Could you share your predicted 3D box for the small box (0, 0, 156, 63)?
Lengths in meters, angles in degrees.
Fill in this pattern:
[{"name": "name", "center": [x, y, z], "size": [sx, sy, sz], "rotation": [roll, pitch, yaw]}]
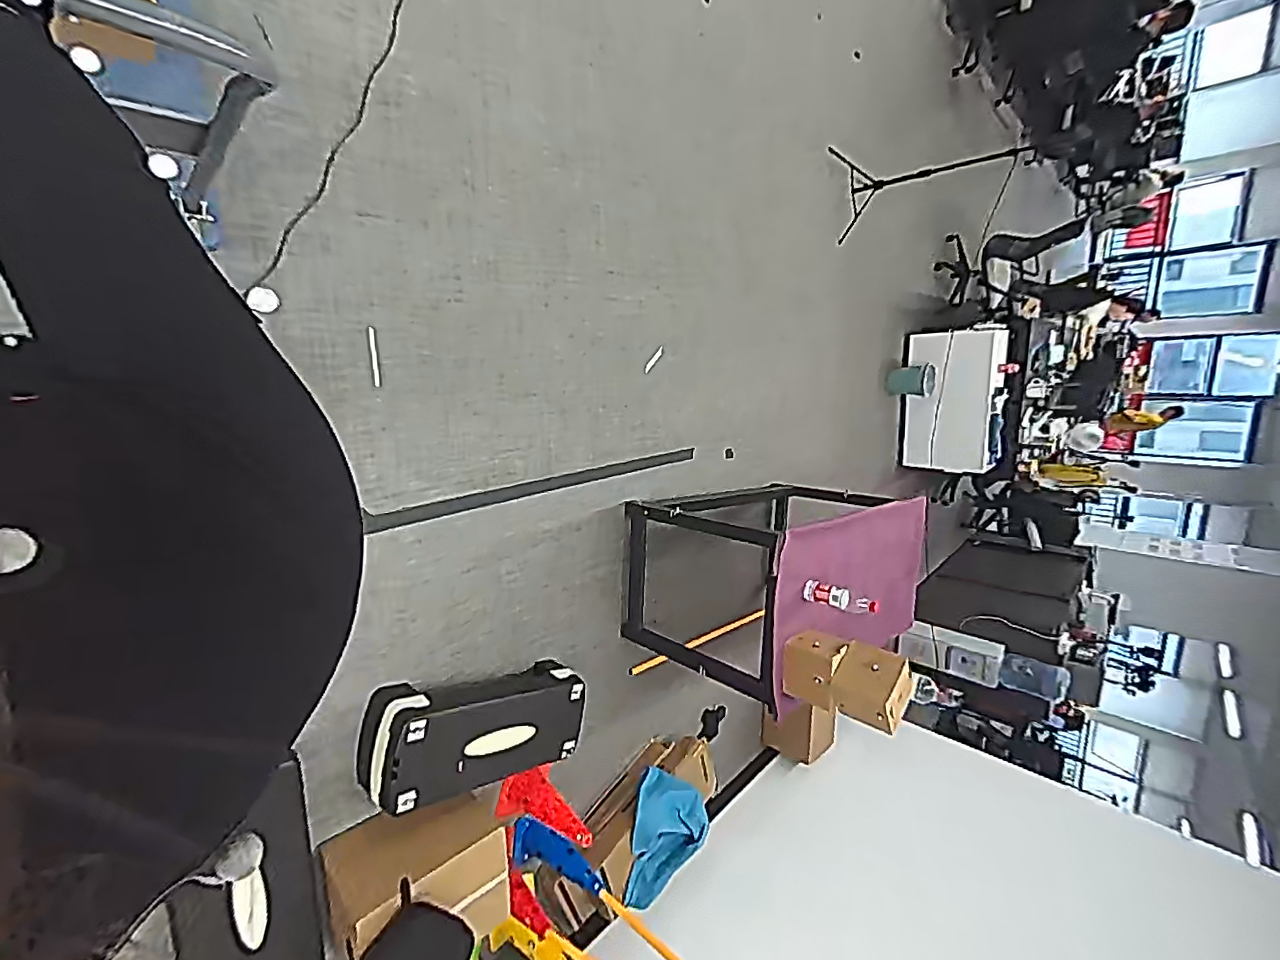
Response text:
[{"name": "small box", "center": [-0.857, -0.768, 0.806], "size": [0.179, 0.176, 0.168], "rotation": [-15, 107, -43]}]
